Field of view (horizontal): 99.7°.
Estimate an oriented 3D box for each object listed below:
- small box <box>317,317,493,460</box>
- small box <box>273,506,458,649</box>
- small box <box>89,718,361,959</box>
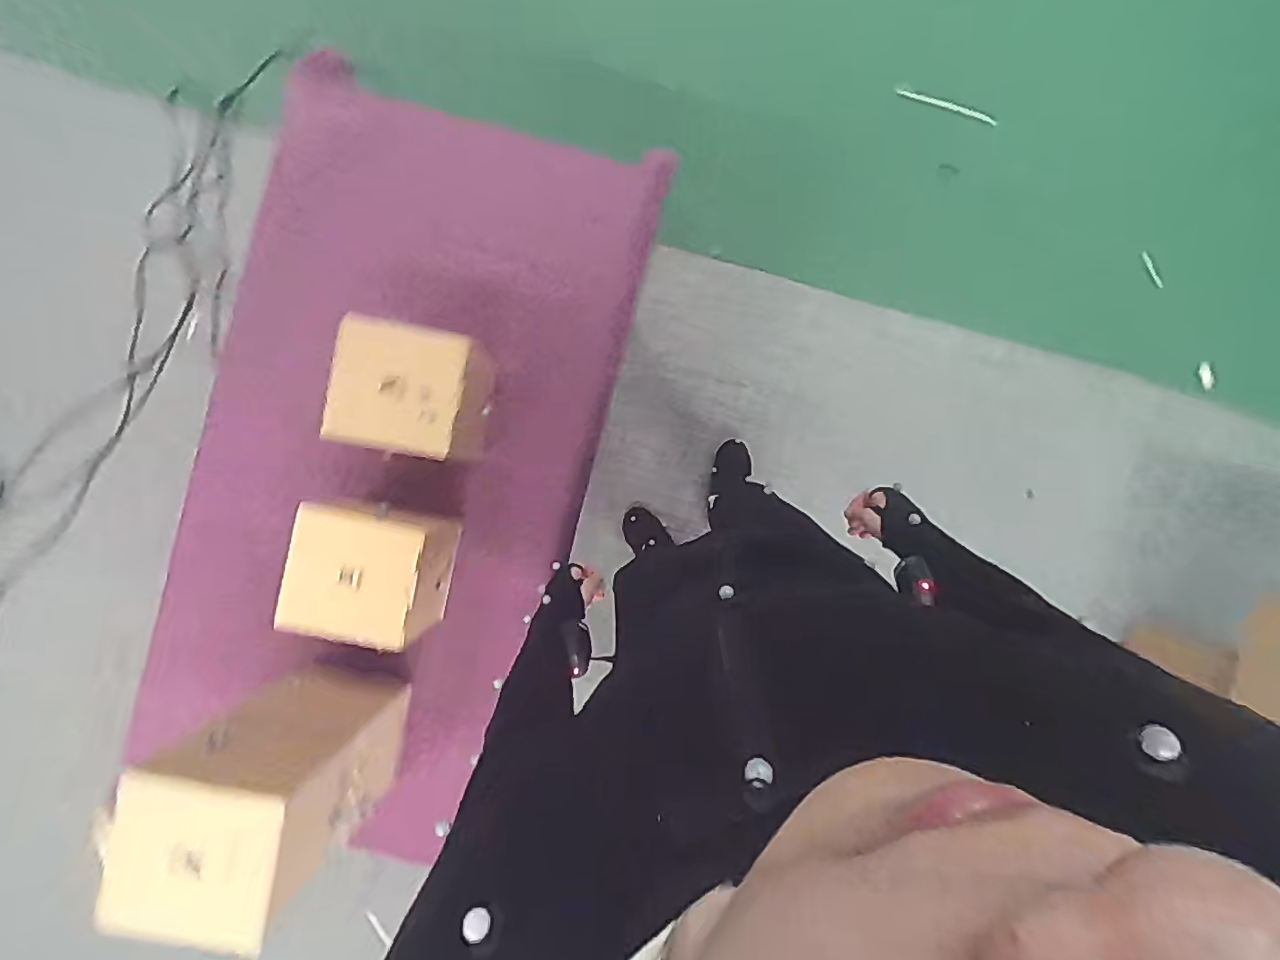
[{"bbox_3d":[-0.337,-0.125,0.807,0.179,0.176,0.168,10,90,-2],"label":"small box"},{"bbox_3d":[-0.395,0.134,0.806,0.179,0.176,0.168,11,89,-3],"label":"small box"},{"bbox_3d":[-0.466,0.402,0.636,0.179,0.176,0.168,10,90,-2],"label":"small box"}]
